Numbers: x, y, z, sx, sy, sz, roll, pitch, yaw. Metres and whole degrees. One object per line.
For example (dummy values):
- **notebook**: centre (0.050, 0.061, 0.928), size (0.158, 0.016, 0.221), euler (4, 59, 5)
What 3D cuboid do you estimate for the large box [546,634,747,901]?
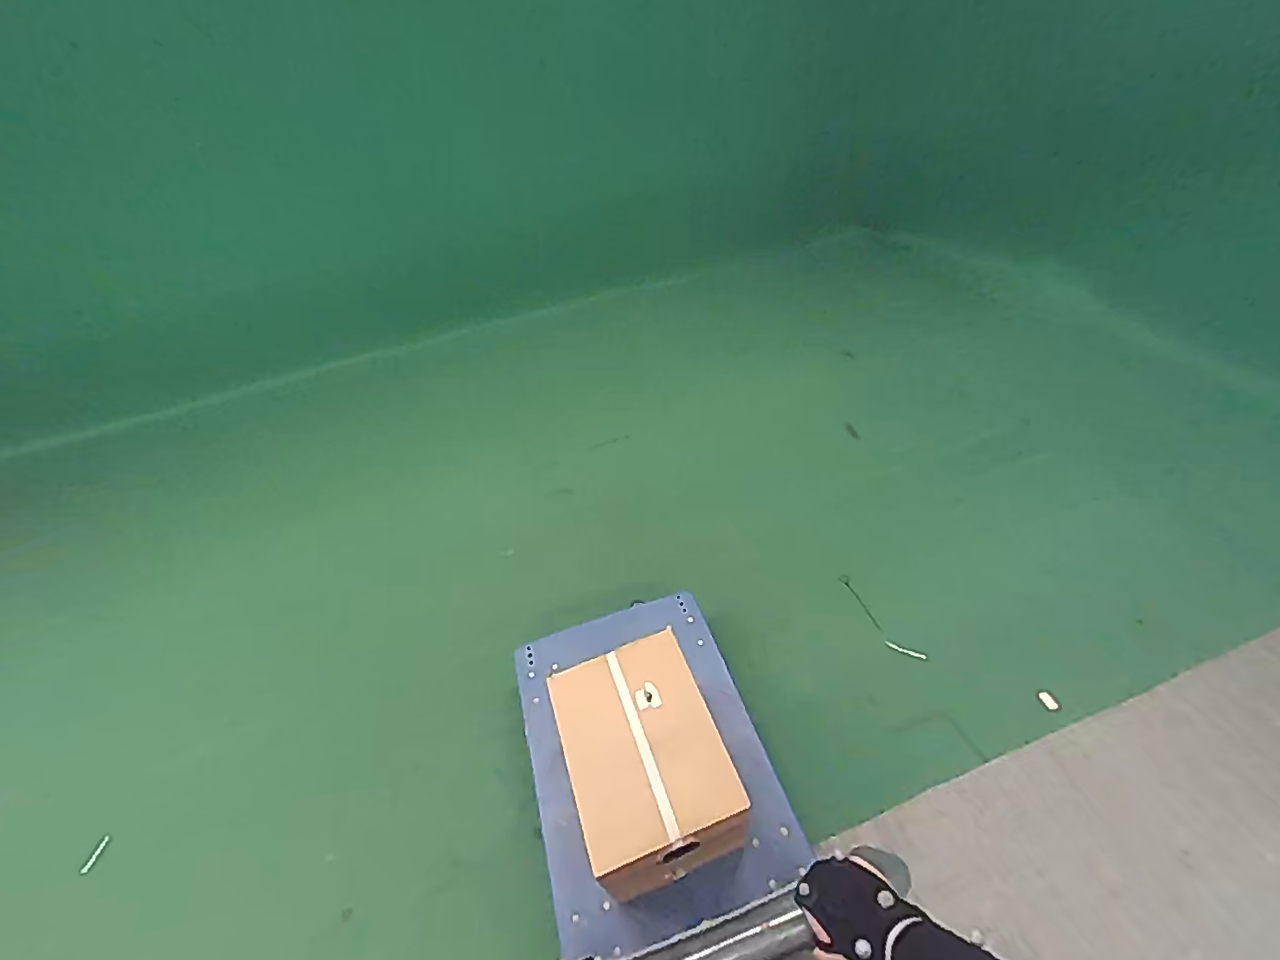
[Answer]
- **large box**: centre (0.015, 0.644, 1.233), size (0.320, 0.320, 0.408), euler (-19, 45, -10)
